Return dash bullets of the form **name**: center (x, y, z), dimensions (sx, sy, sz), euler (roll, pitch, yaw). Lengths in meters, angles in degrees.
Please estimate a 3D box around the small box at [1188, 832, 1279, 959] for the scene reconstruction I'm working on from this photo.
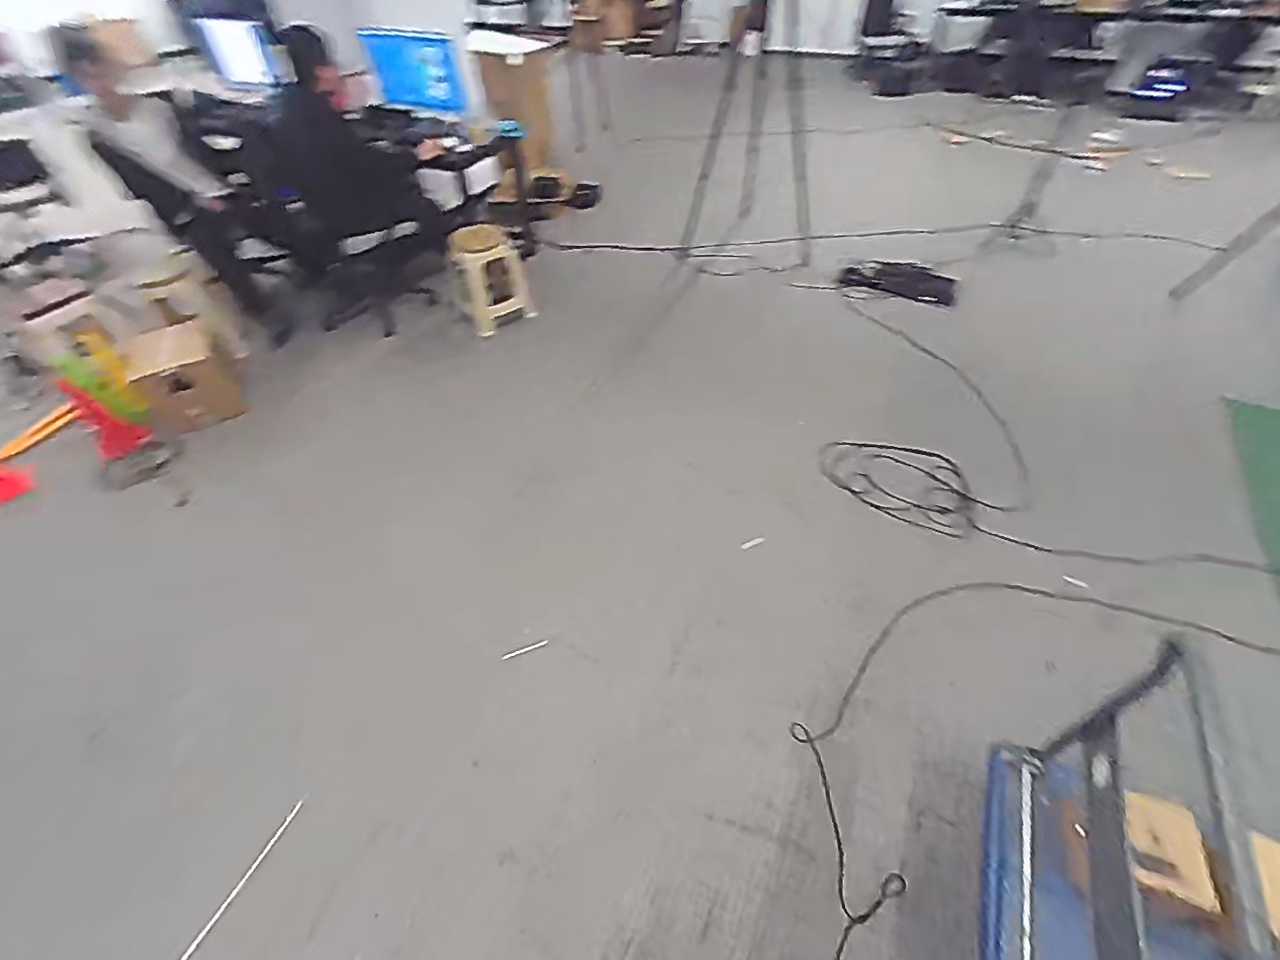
- **small box**: center (1.242, 0.838, 1.065), dimensions (0.168, 0.176, 0.179), euler (18, 51, 18)
